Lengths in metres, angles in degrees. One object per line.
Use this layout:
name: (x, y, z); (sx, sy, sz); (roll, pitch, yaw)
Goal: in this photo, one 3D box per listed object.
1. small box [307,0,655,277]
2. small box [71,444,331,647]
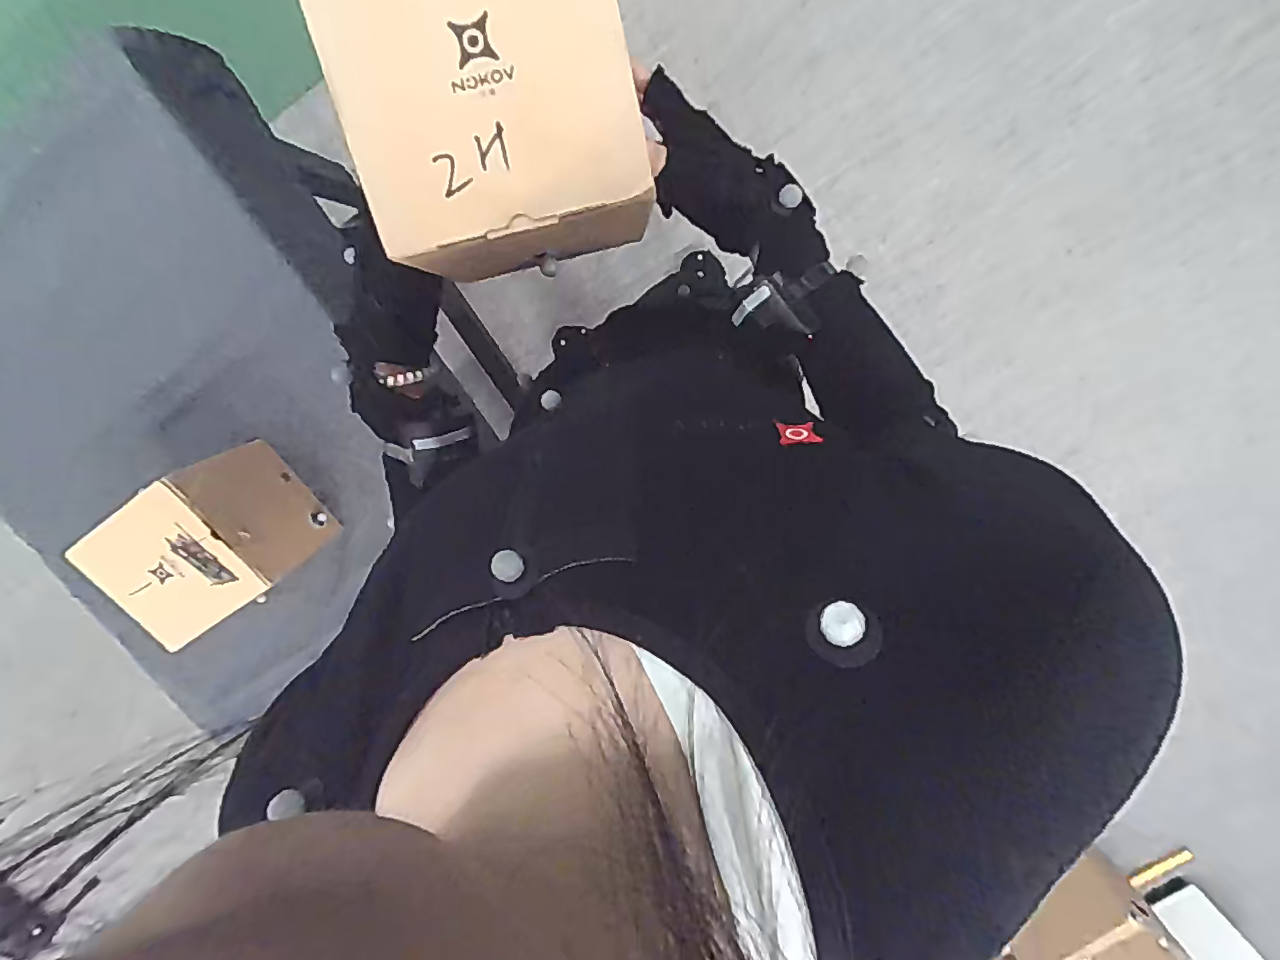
small box: (-0.092, -0.252, 0.371); (0.168, 0.176, 0.179); (-13, 106, 1)
small box: (-0.548, 0.076, 0.710); (0.179, 0.176, 0.168); (-31, 106, 13)
